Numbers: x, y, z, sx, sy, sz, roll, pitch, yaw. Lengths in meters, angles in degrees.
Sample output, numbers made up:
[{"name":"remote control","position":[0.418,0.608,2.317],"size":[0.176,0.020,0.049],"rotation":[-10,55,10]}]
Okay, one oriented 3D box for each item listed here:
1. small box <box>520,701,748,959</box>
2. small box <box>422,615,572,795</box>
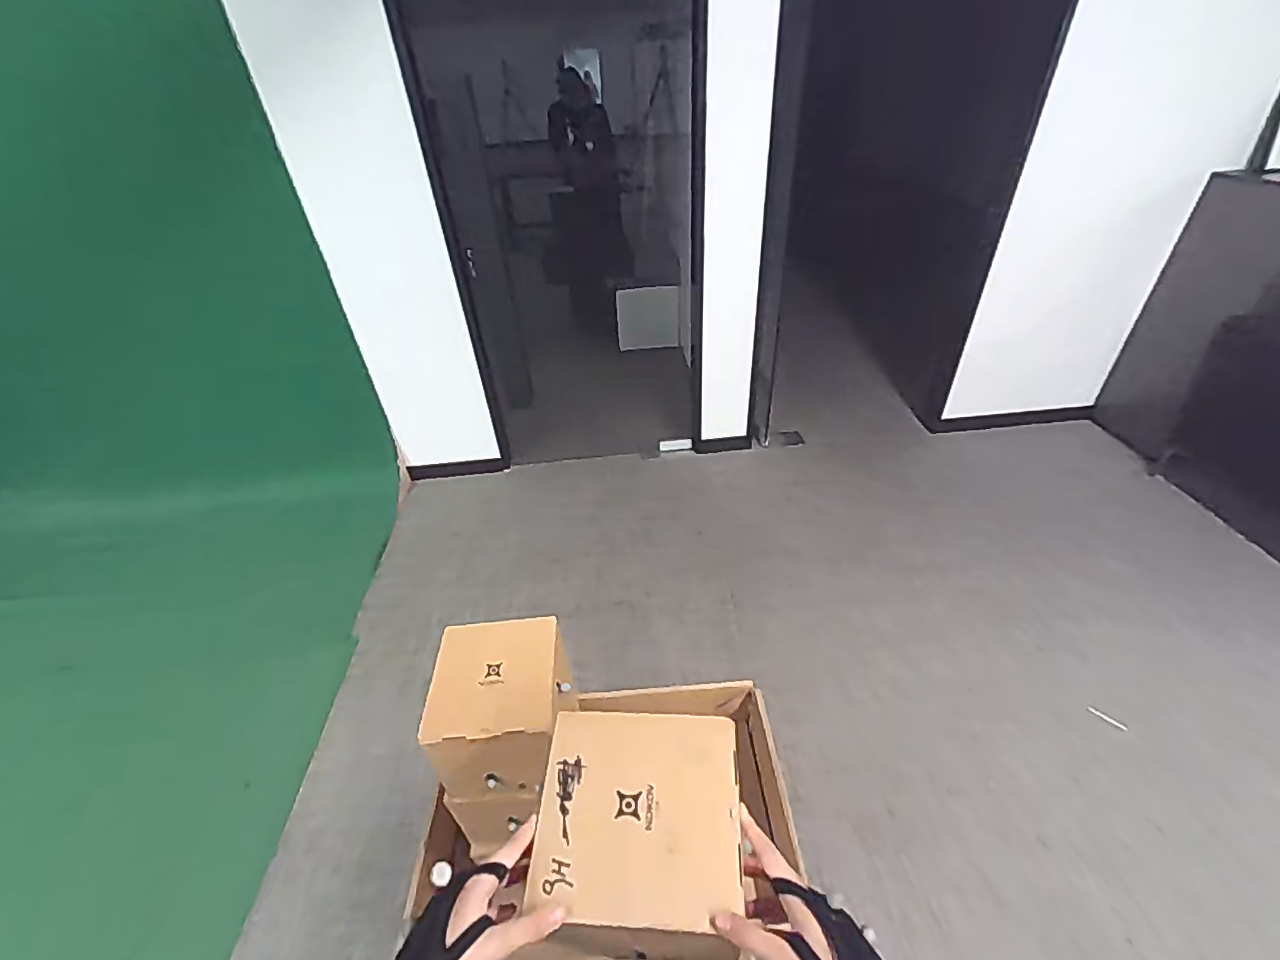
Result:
[{"name":"small box","position":[0.004,0.336,0.519],"size":[0.179,0.176,0.168],"rotation":[1,40,5]},{"name":"small box","position":[-0.190,0.321,0.779],"size":[0.168,0.176,0.179],"rotation":[-5,38,-1]}]
